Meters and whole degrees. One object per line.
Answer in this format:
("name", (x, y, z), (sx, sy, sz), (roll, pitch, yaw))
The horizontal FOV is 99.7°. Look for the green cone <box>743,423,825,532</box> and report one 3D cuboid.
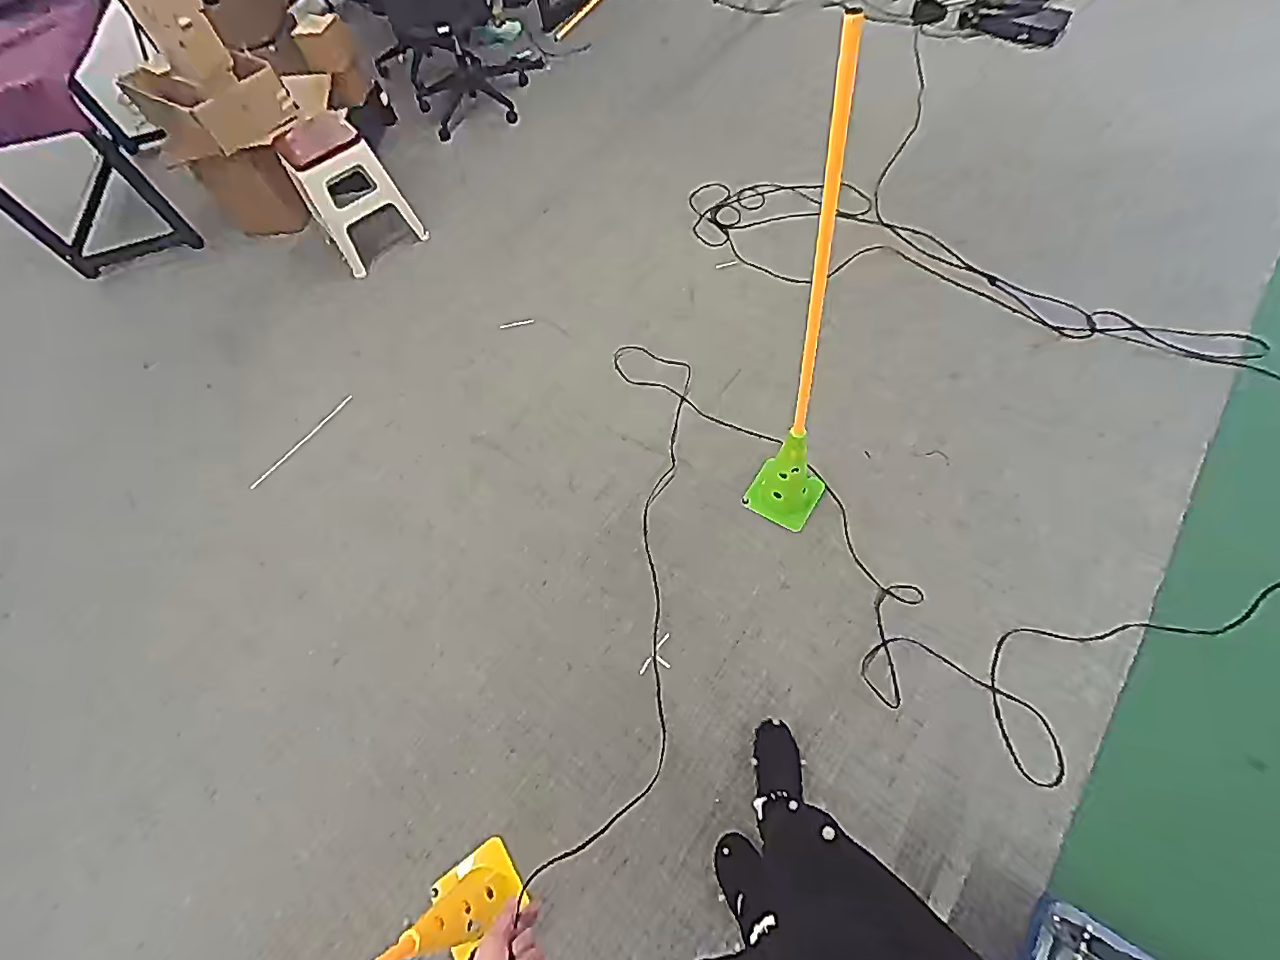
("green cone", (0.429, -0.037, 1.525), (0.200, 0.368, 0.202), (28, 67, 20))
